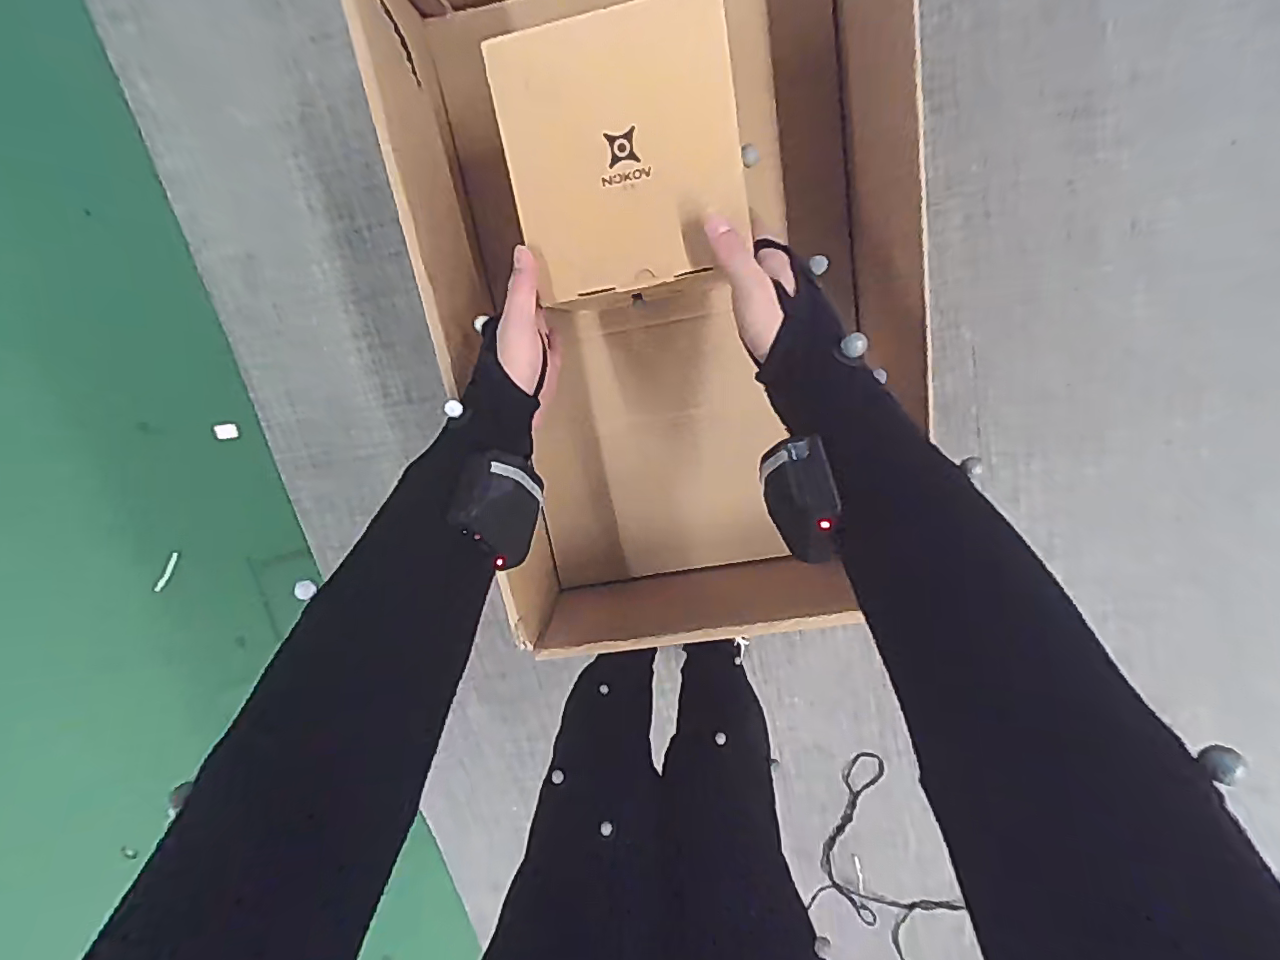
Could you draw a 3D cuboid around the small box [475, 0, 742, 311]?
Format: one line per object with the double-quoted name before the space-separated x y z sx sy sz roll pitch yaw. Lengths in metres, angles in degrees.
"small box" -0.016 -0.249 0.459 0.168 0.176 0.179 -10 106 6
